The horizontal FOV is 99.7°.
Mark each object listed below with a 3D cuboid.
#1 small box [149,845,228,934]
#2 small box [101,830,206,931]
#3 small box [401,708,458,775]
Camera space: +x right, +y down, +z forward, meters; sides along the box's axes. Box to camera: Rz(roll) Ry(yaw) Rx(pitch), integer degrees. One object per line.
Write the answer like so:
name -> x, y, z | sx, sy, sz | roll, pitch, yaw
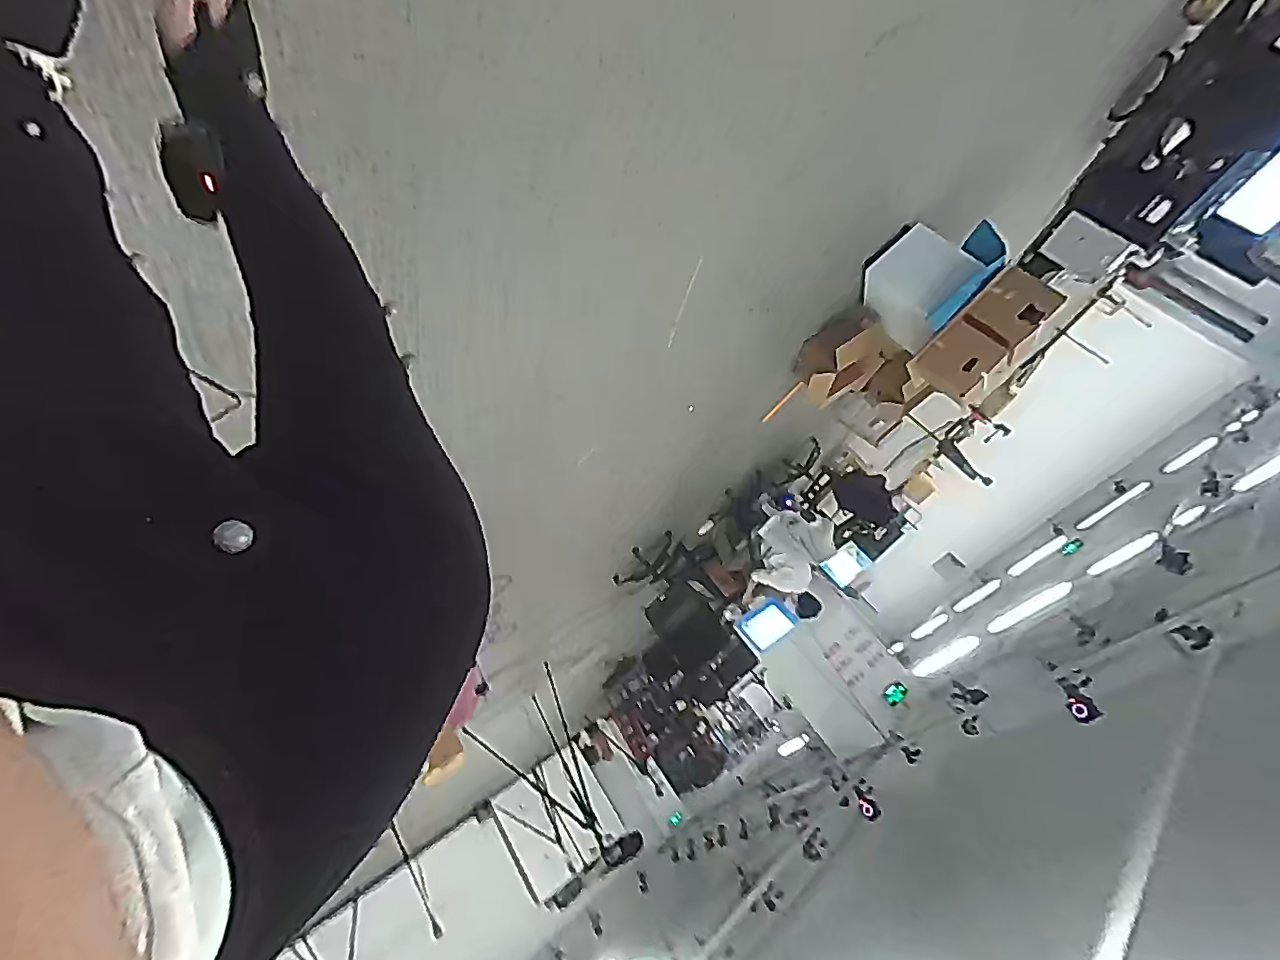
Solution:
small box -> -1.487, 1.333, 1.767 | 0.168, 0.176, 0.179 | -24, 153, -36
small box -> -1.389, 1.142, 1.549 | 0.168, 0.176, 0.179 | -25, 154, -35
small box -> -0.873, 1.075, 2.234 | 0.168, 0.176, 0.179 | -22, 151, -35
